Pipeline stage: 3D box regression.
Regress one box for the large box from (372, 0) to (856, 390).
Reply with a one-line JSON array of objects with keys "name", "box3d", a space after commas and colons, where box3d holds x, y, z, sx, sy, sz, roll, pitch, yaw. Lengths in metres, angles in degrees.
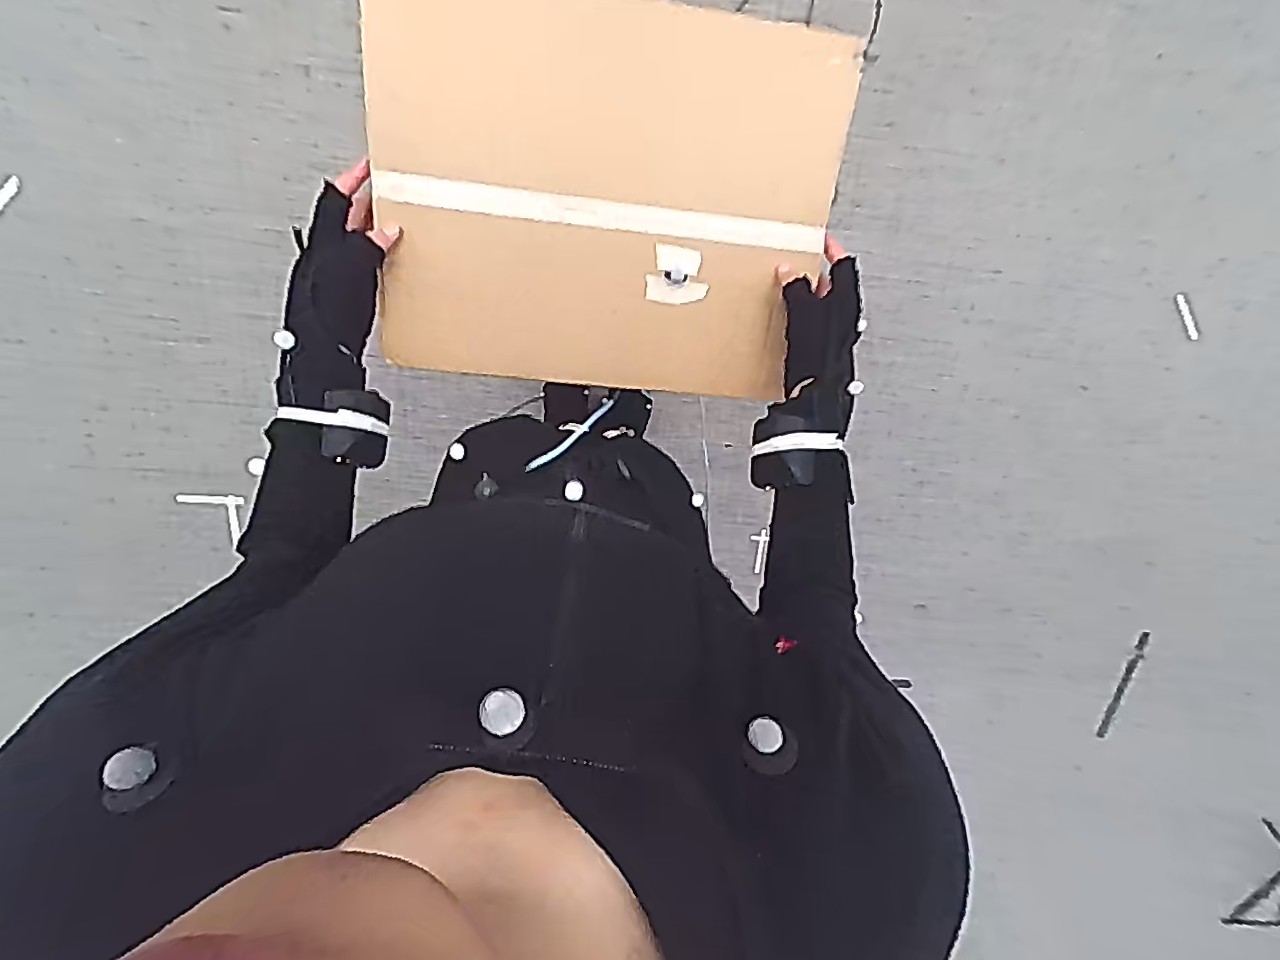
[{"name": "large box", "box3d": [-0.042, -0.302, 0.627, 0.408, 0.320, 0.320, 4, 113, -8]}]
